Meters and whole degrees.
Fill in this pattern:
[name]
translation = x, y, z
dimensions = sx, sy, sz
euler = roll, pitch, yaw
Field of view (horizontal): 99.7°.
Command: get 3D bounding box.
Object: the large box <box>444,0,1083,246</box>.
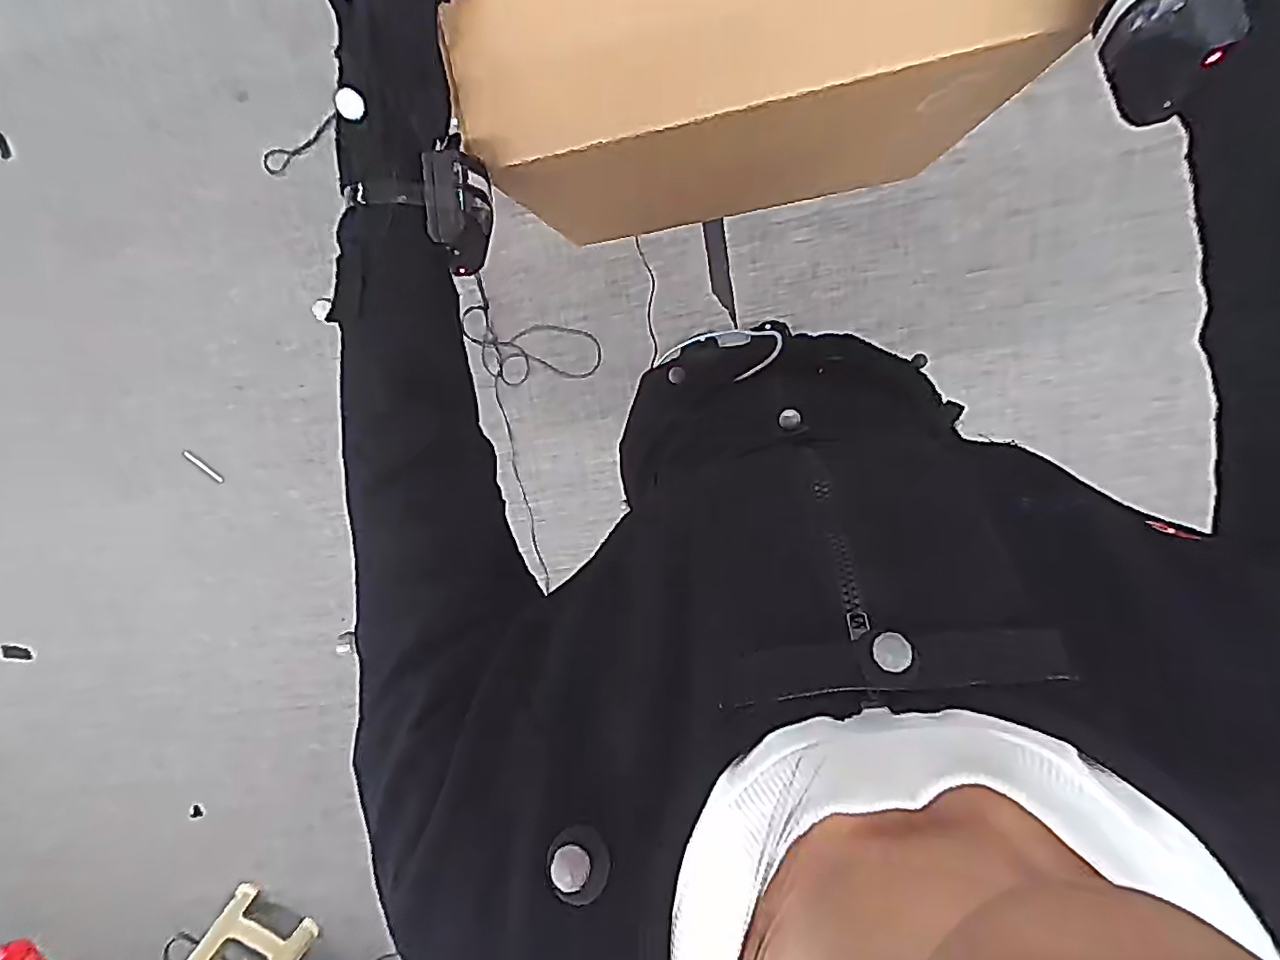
[large box]
translation = 0.066, -0.433, 0.471
dimensions = 0.408, 0.320, 0.320
euler = -9, 103, 8
